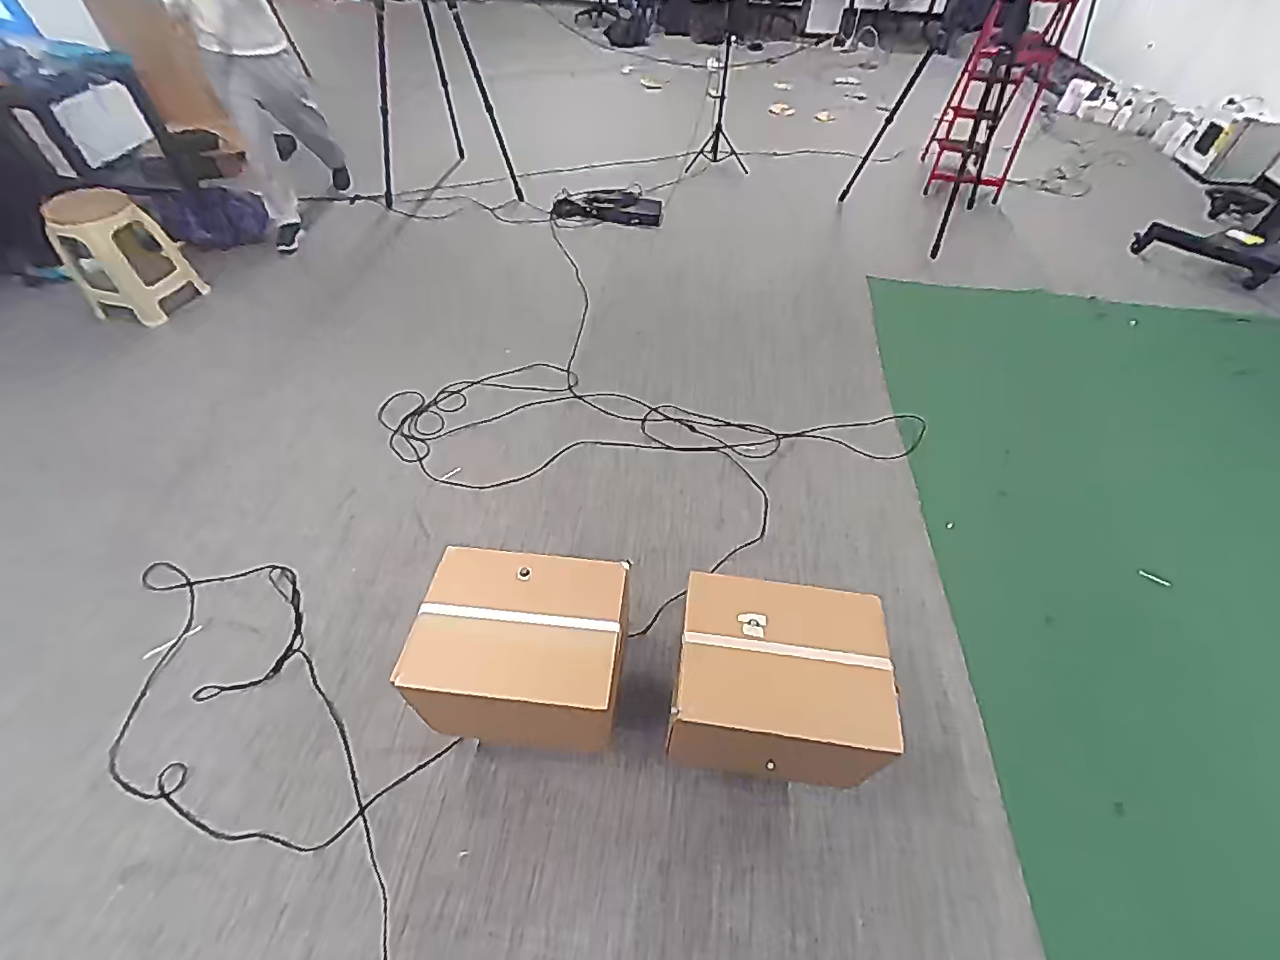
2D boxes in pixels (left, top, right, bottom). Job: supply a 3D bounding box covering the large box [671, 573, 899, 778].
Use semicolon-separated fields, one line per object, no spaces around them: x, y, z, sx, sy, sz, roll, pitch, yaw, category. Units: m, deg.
0.288;0.433;1.186;0.408;0.320;0.320;7;50;5;large box
